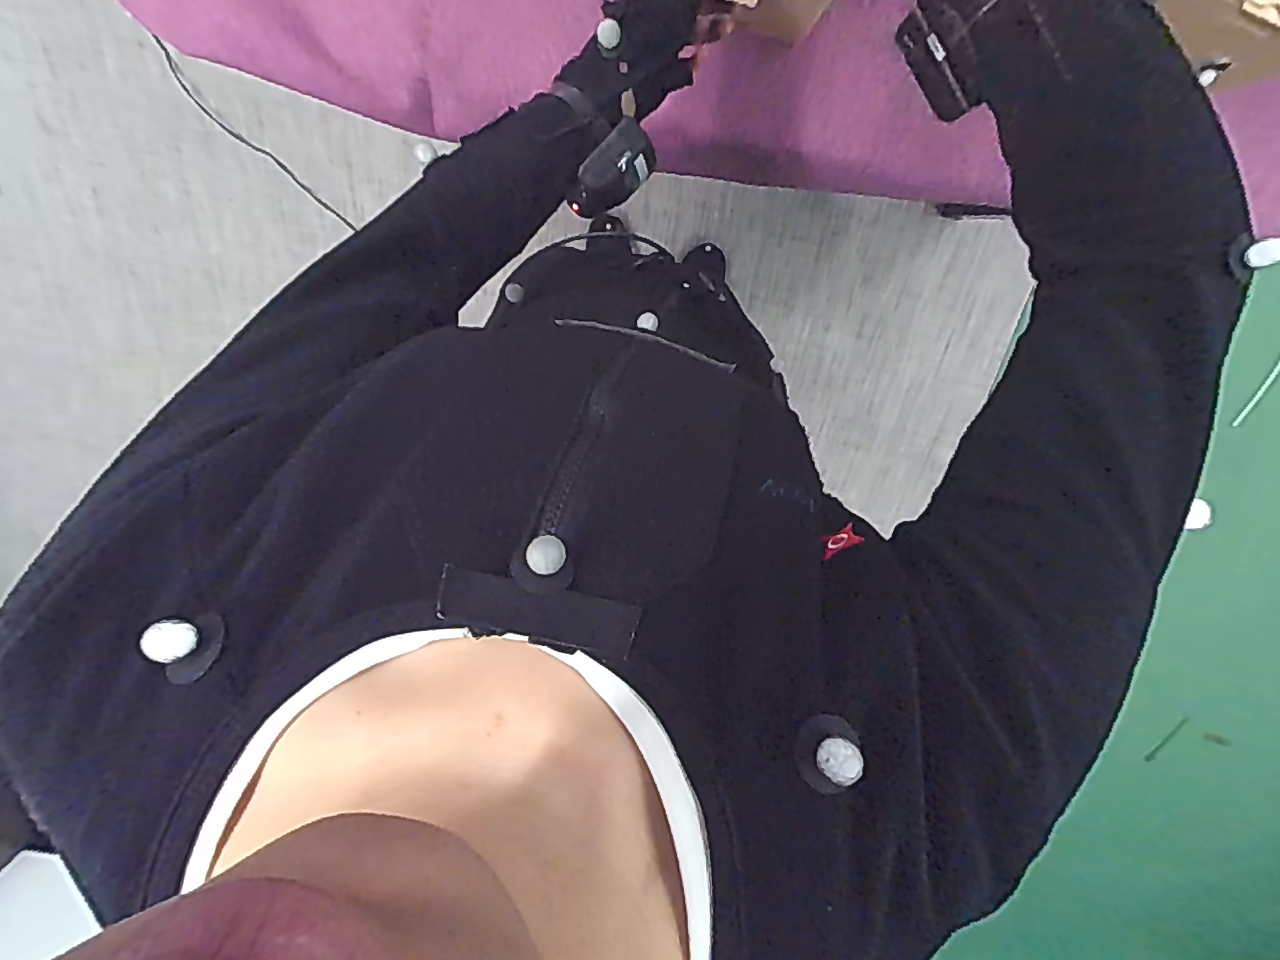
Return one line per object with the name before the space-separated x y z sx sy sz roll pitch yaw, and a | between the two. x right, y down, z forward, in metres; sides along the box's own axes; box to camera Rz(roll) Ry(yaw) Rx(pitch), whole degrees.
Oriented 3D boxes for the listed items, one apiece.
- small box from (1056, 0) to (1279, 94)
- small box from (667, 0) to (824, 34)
small box | 0.479 -0.437 0.419 0.168 0.176 0.179 19 115 -6
small box | 0.093 -0.486 0.419 0.168 0.176 0.179 12 116 -2
